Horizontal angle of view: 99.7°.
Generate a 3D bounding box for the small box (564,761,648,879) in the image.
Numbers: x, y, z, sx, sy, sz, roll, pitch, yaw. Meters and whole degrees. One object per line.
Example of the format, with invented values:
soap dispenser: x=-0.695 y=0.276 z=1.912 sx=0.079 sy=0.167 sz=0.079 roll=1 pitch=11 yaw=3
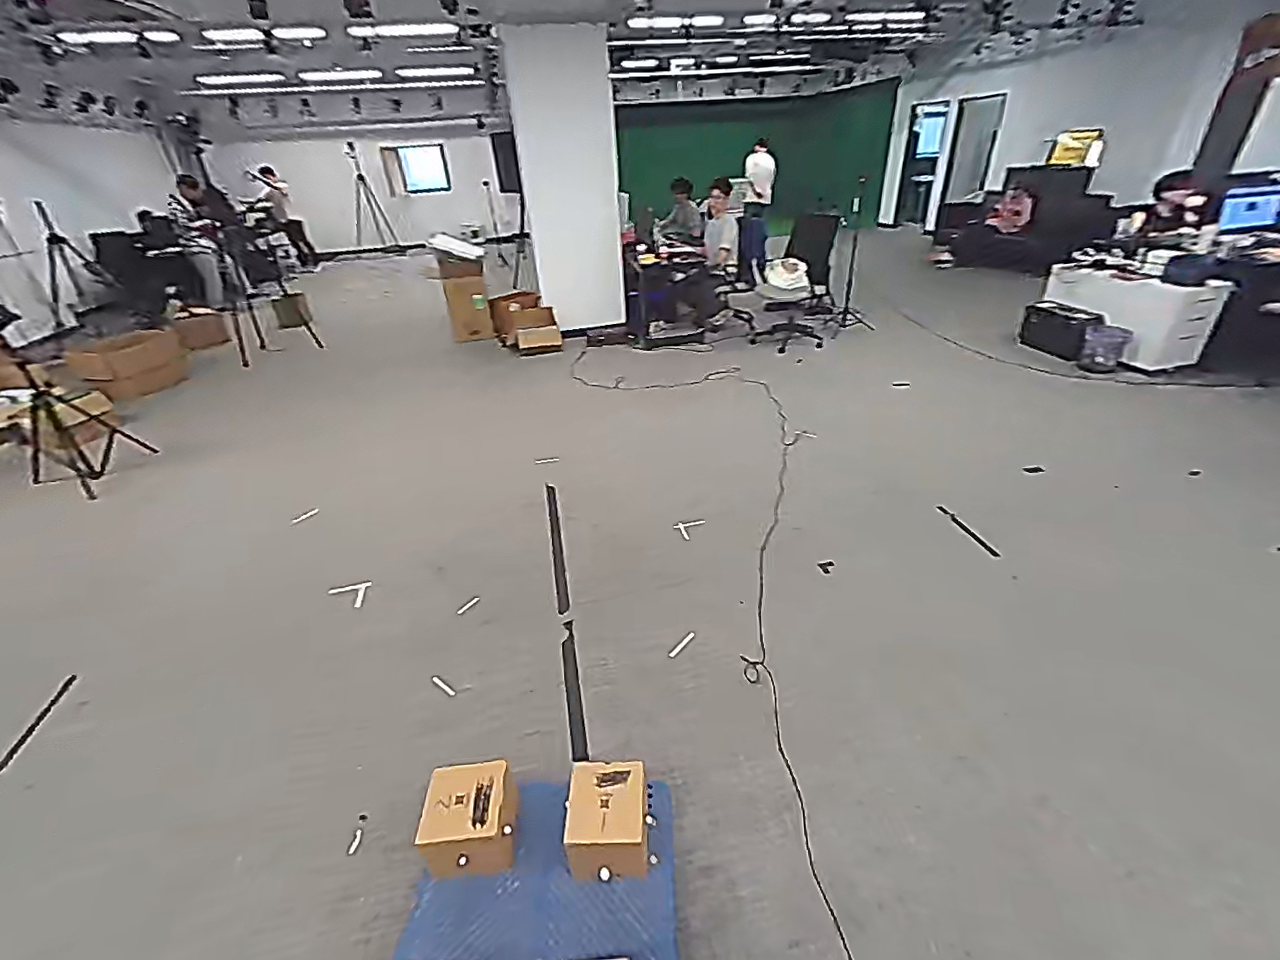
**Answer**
small box: x=-0.070 y=0.769 z=1.227 sx=0.168 sy=0.176 sz=0.179 roll=-3 pitch=33 yaw=3
